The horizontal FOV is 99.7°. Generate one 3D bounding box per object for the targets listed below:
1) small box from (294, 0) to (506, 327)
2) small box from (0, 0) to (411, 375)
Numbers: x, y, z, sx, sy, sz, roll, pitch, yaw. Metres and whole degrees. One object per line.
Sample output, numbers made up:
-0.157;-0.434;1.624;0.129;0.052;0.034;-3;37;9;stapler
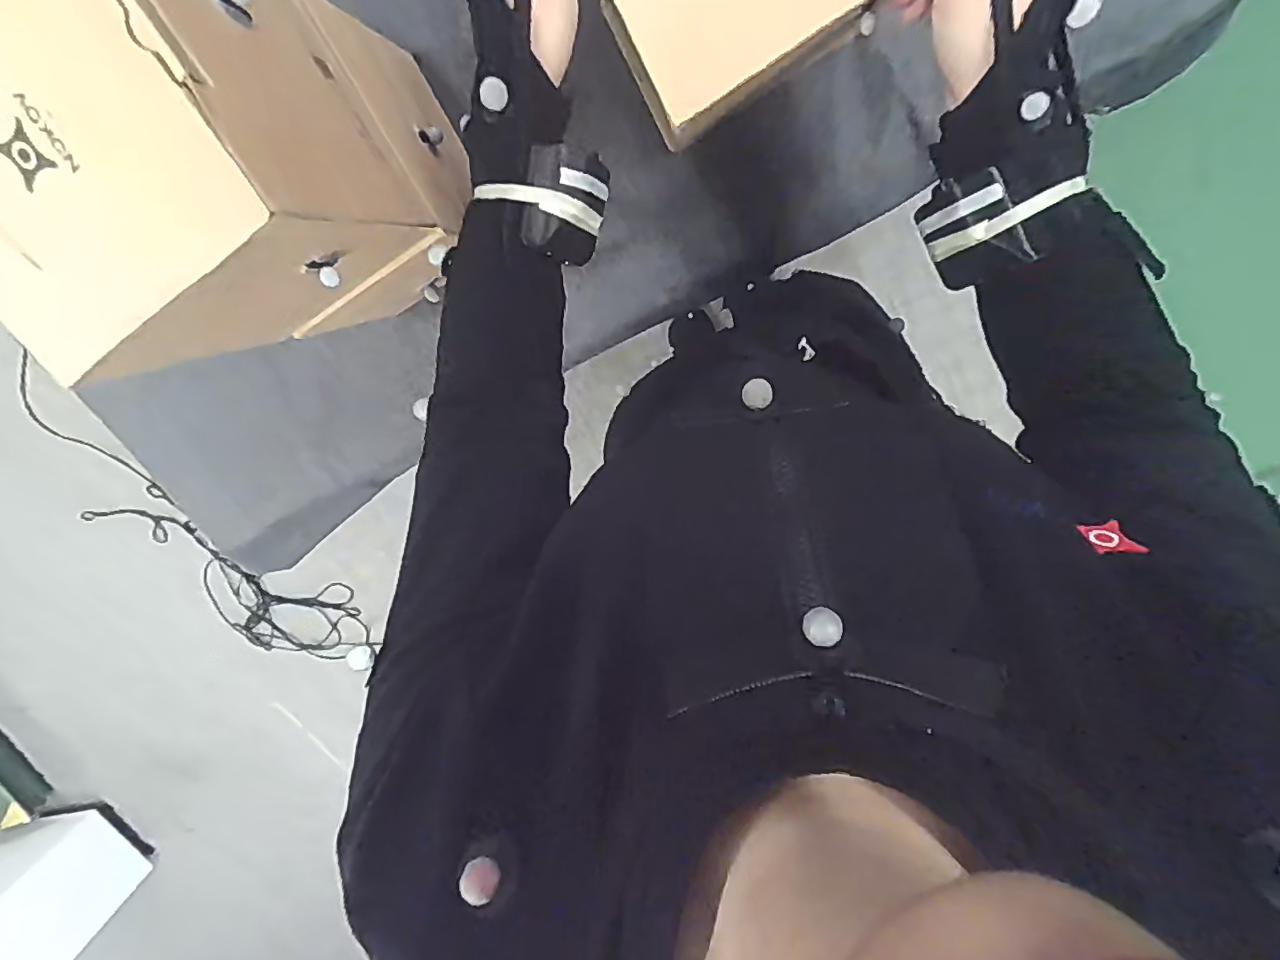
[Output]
-0.248;-0.258;0.472;0.168;0.176;0.179;-25;109;16;small box
-0.270;-0.190;0.326;0.179;0.176;0.168;-26;107;18;small box
